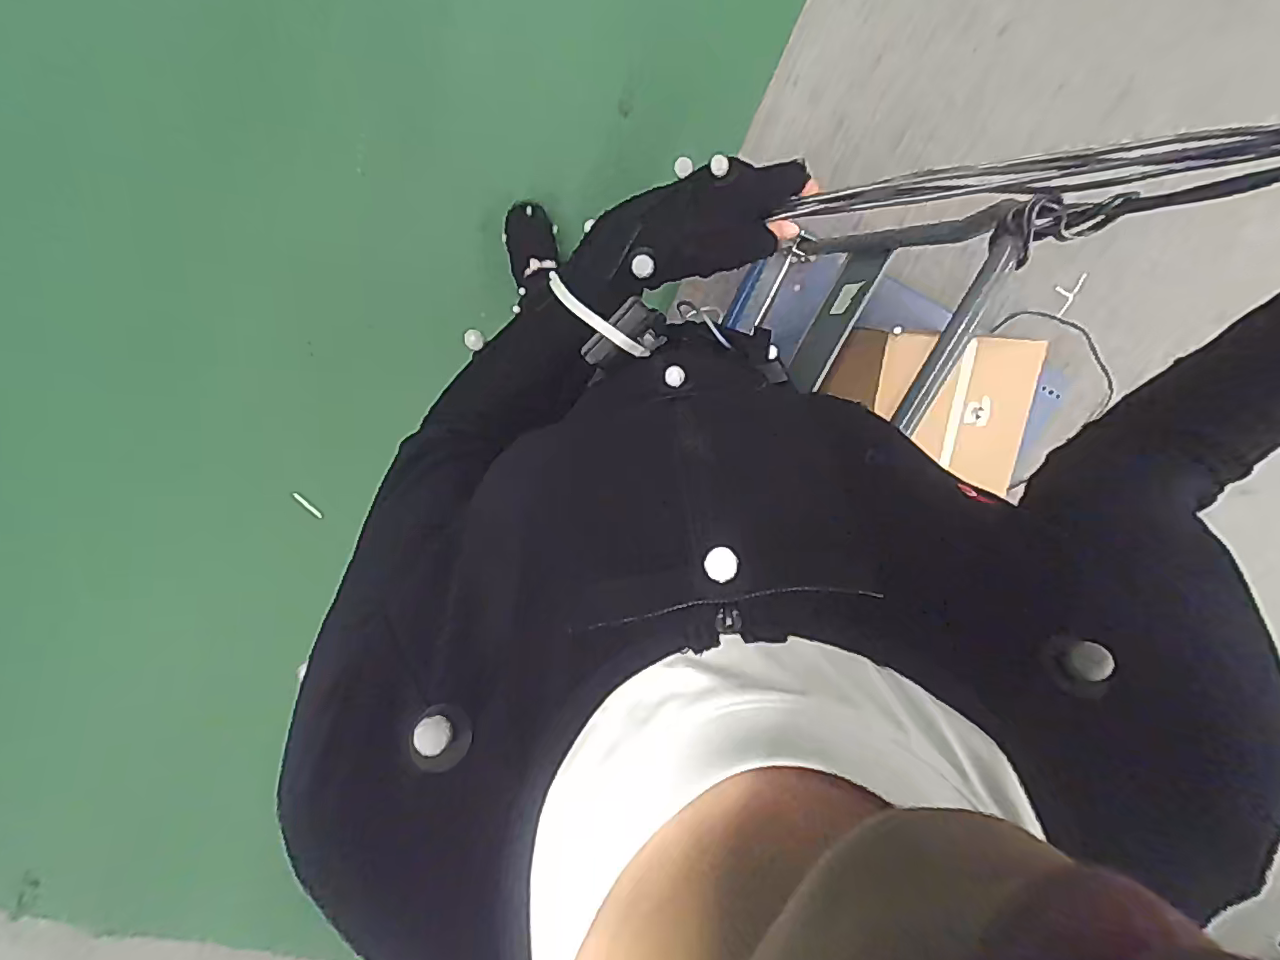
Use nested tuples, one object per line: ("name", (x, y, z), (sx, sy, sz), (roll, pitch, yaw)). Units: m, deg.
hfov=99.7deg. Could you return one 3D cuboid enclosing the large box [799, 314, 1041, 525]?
("large box", (0.569, -0.143, 1.184), (0.320, 0.320, 0.408), (2, 108, -6))
